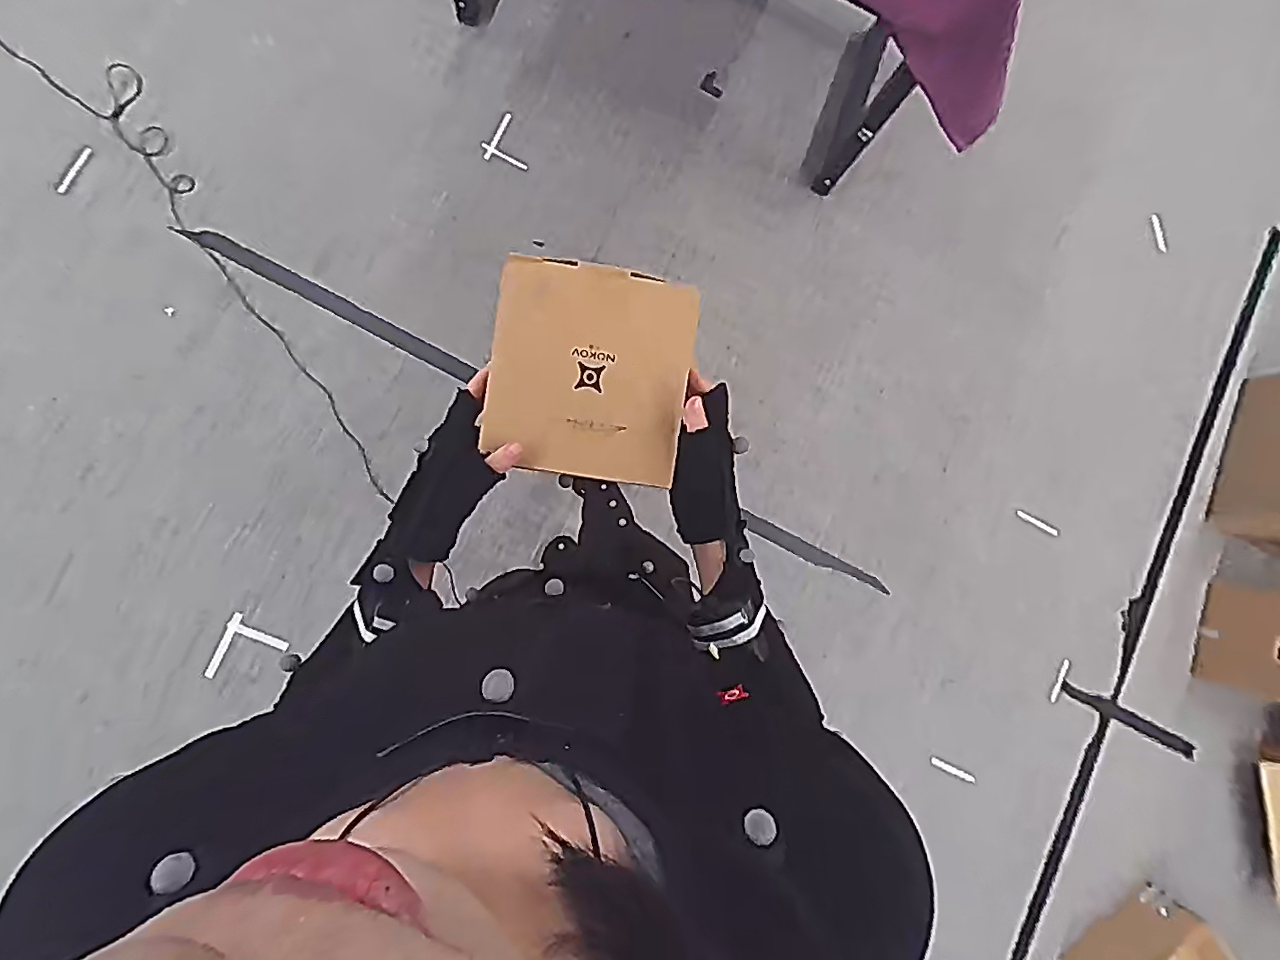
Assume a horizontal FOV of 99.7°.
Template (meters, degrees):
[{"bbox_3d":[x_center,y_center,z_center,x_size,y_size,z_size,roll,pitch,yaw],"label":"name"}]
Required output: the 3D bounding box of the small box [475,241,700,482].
[{"bbox_3d":[-0.050,-0.098,0.521,0.168,0.176,0.179,8,92,-6],"label":"small box"}]
